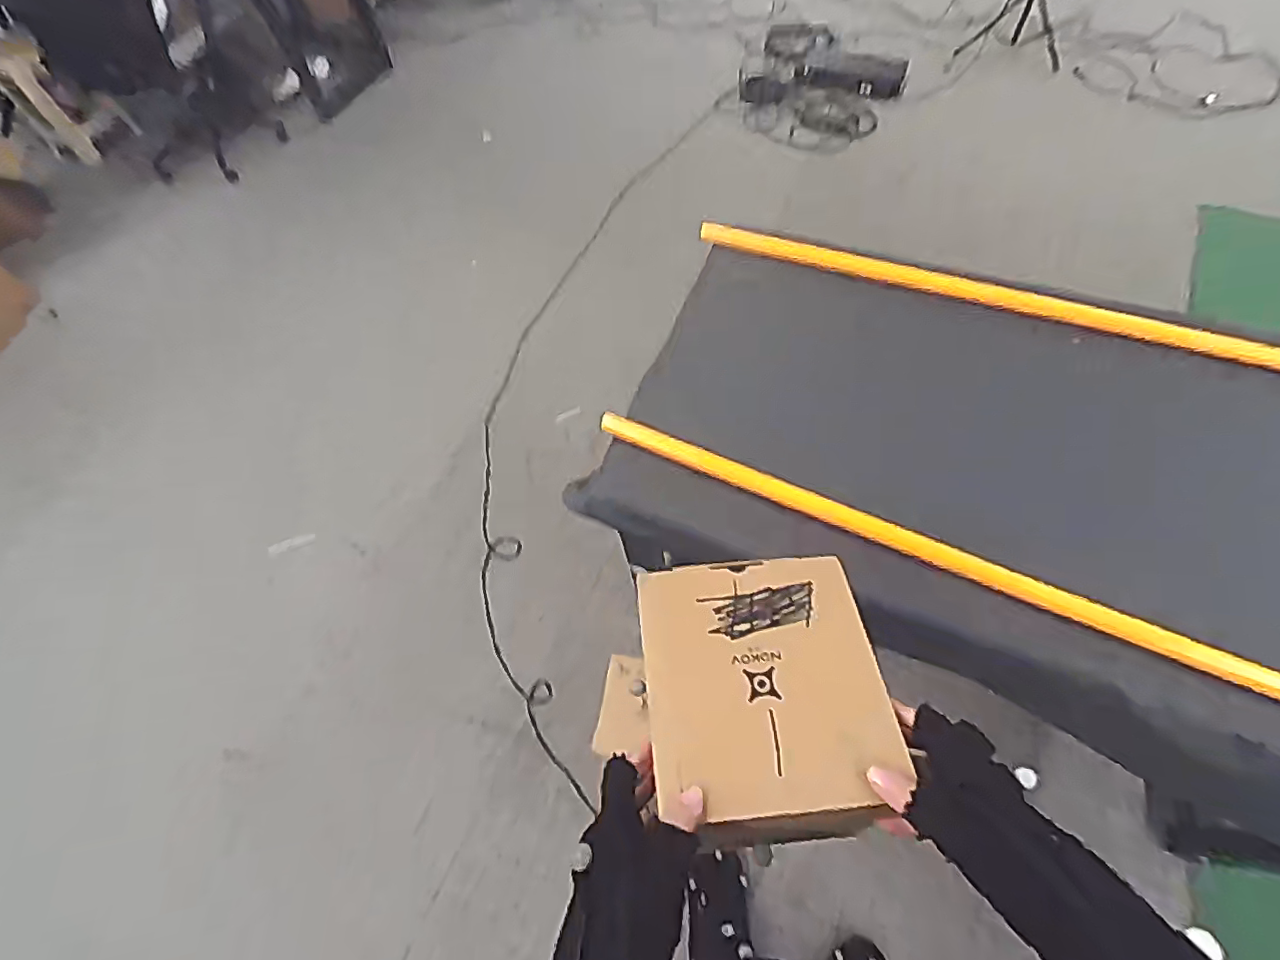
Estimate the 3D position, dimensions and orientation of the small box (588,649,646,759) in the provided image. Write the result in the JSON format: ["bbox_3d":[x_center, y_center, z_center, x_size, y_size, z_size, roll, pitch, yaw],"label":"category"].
[{"bbox_3d":[0.009,0.445,1.053,0.168,0.176,0.179,5,61,10],"label":"small box"}]

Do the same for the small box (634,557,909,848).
[{"bbox_3d":[0.084,0.187,0.451,0.168,0.176,0.179,-6,52,-1],"label":"small box"}]
